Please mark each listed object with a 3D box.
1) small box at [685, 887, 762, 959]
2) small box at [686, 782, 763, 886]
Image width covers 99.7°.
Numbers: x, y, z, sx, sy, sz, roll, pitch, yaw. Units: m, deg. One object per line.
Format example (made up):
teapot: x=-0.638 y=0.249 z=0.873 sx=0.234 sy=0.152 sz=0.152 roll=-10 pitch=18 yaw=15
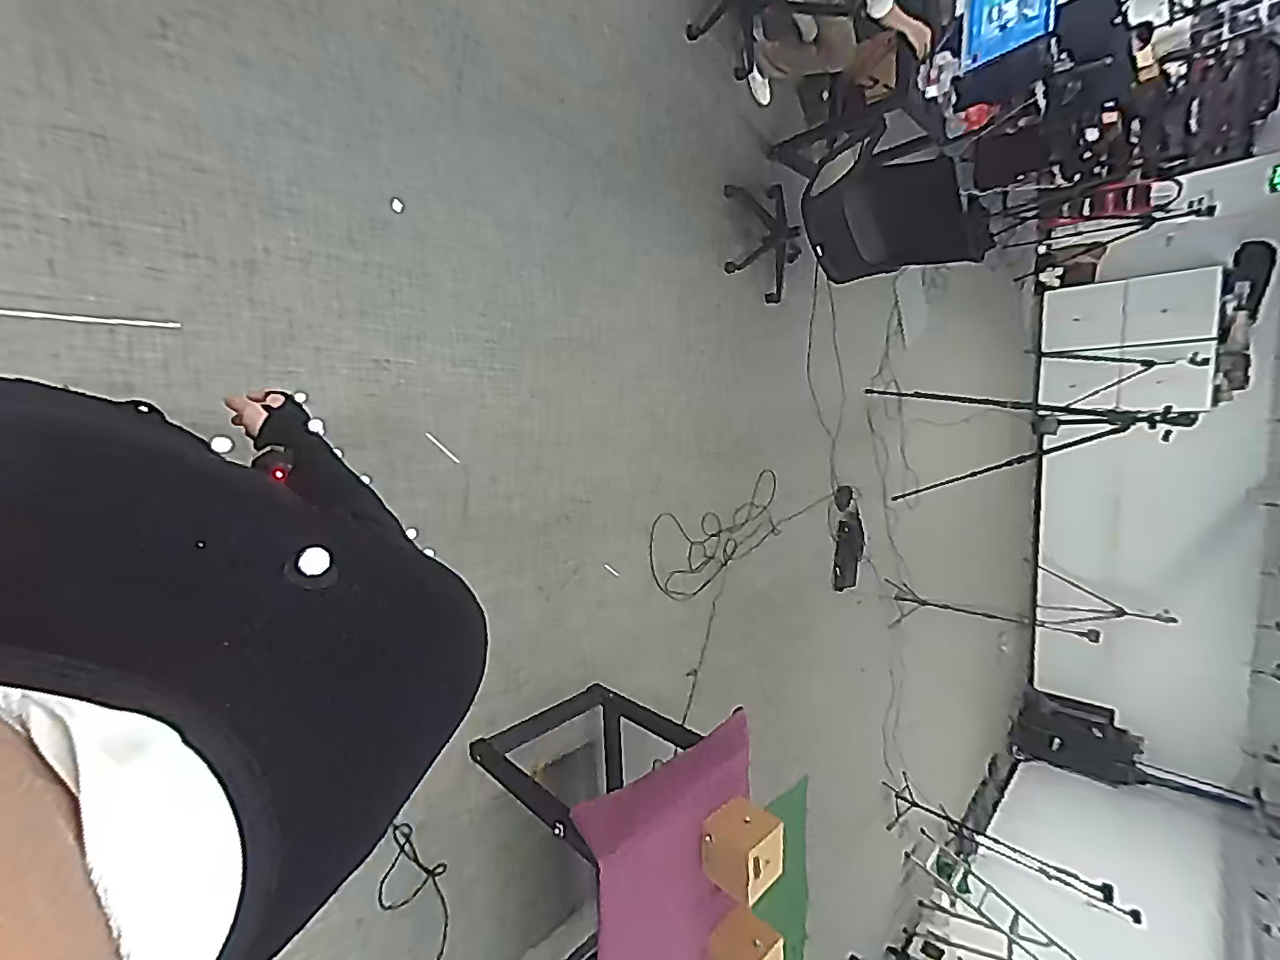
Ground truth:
small box: x=0.262 y=1.434 z=1.689 sx=0.179 sy=0.176 sz=0.168 roll=-3 pitch=96 yaw=-45
small box: x=0.254 y=1.060 z=1.636 sx=0.179 sy=0.176 sz=0.168 roll=-6 pitch=99 yaw=-45
